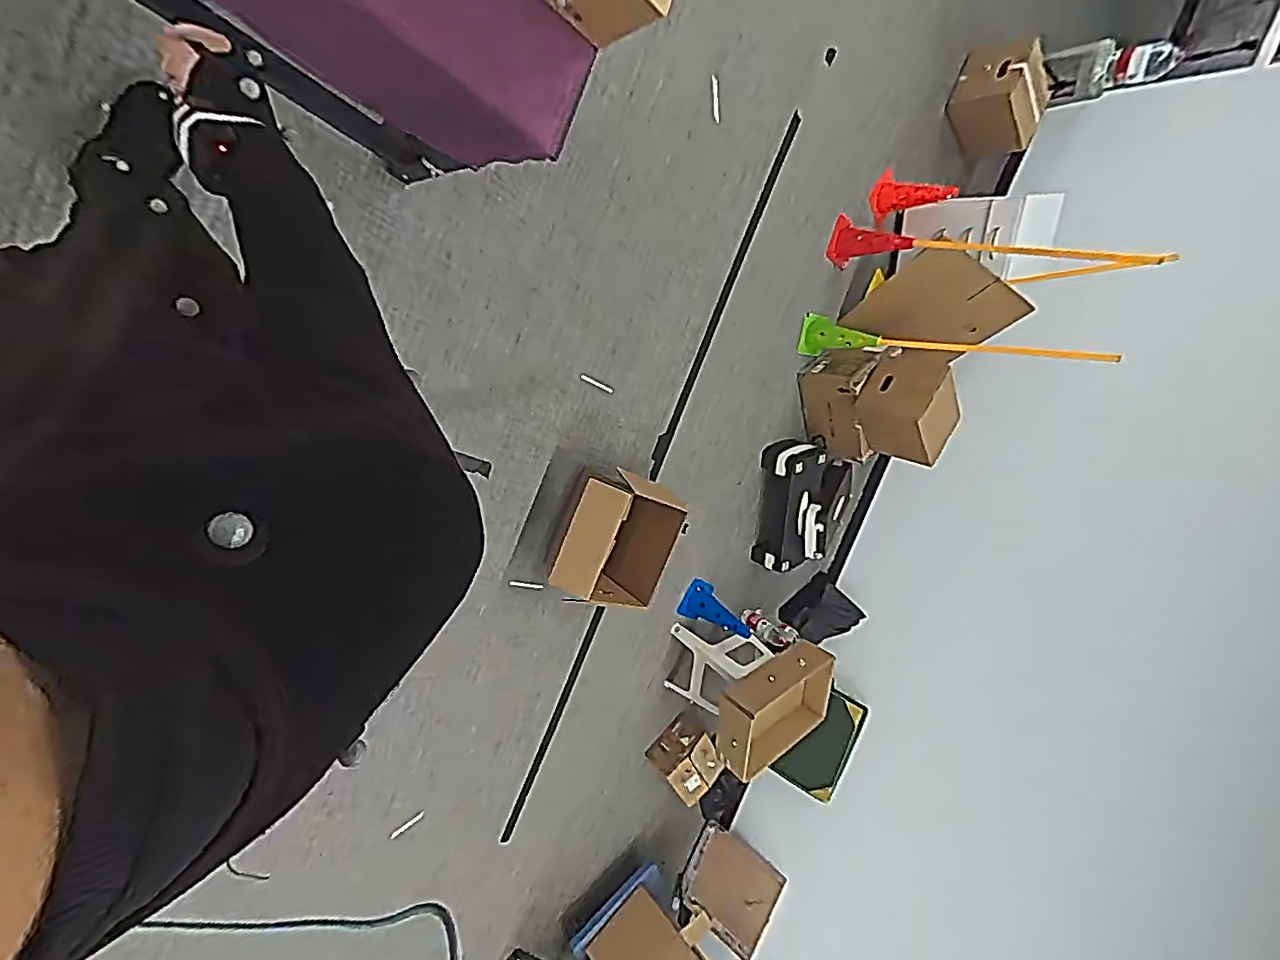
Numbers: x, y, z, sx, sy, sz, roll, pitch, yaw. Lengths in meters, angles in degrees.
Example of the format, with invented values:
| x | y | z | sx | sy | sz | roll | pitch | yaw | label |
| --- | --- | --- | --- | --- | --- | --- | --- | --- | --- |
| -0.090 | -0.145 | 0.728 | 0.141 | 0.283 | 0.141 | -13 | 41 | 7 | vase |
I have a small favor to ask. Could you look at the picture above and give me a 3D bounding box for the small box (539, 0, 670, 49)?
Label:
| x | y | z | sx | sy | sz | roll | pitch | yaw | label |
| --- | --- | --- | --- | --- | --- | --- | --- | --- | --- |
| -0.049 | -0.754 | 0.743 | 0.168 | 0.176 | 0.179 | 13 | 98 | -42 | small box |
